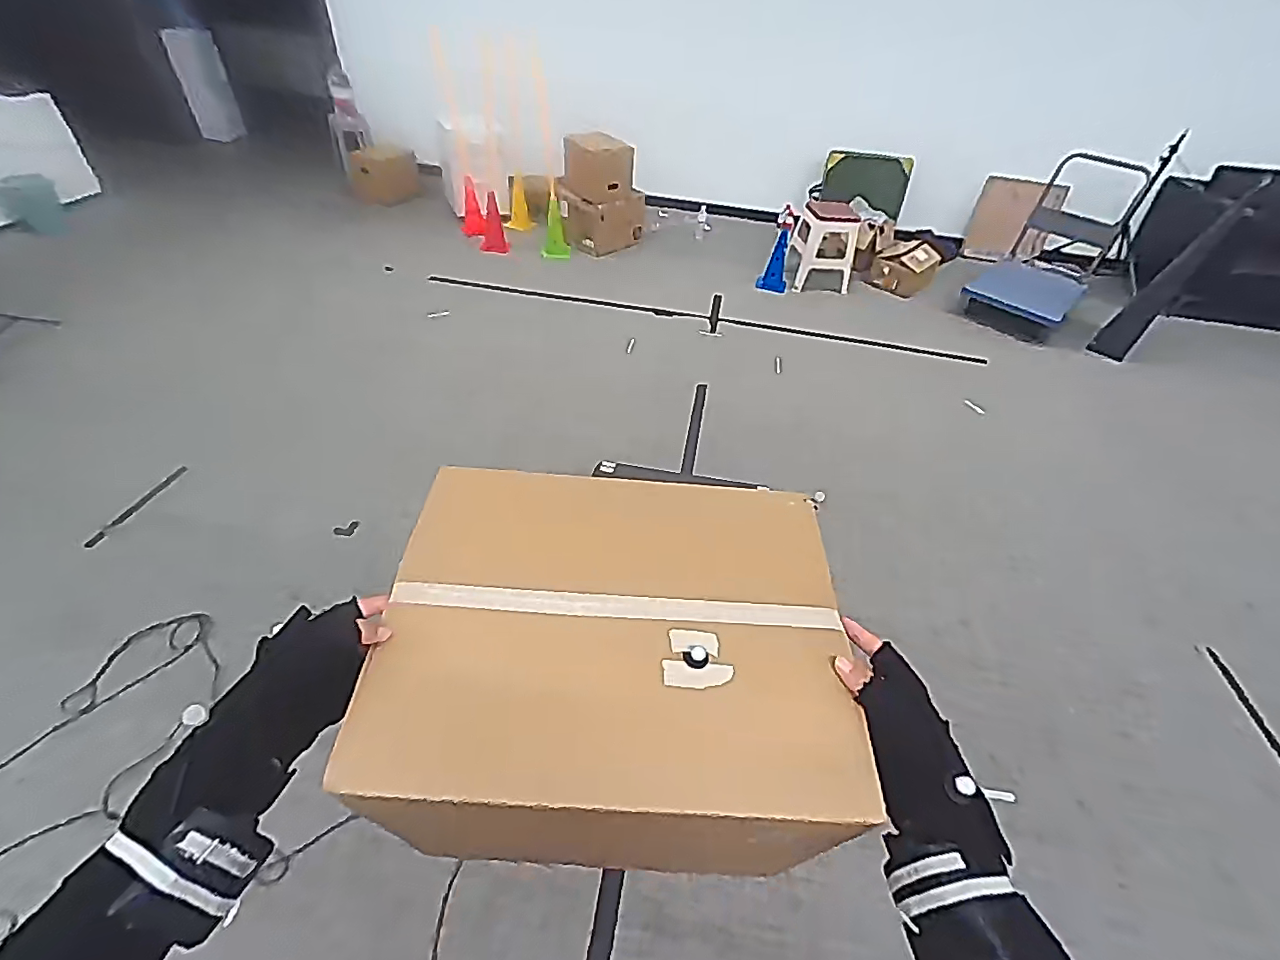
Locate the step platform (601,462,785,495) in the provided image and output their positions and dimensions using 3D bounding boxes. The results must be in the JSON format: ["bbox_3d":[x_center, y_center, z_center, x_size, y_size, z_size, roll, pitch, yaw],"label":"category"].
[{"bbox_3d":[0.181,0.131,1.927,0.684,0.204,0.286,9,44,1],"label":"step platform"}]

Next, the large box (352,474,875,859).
[{"bbox_3d":[-0.025,0.217,0.611,0.408,0.320,0.320,5,49,-2],"label":"large box"}]
